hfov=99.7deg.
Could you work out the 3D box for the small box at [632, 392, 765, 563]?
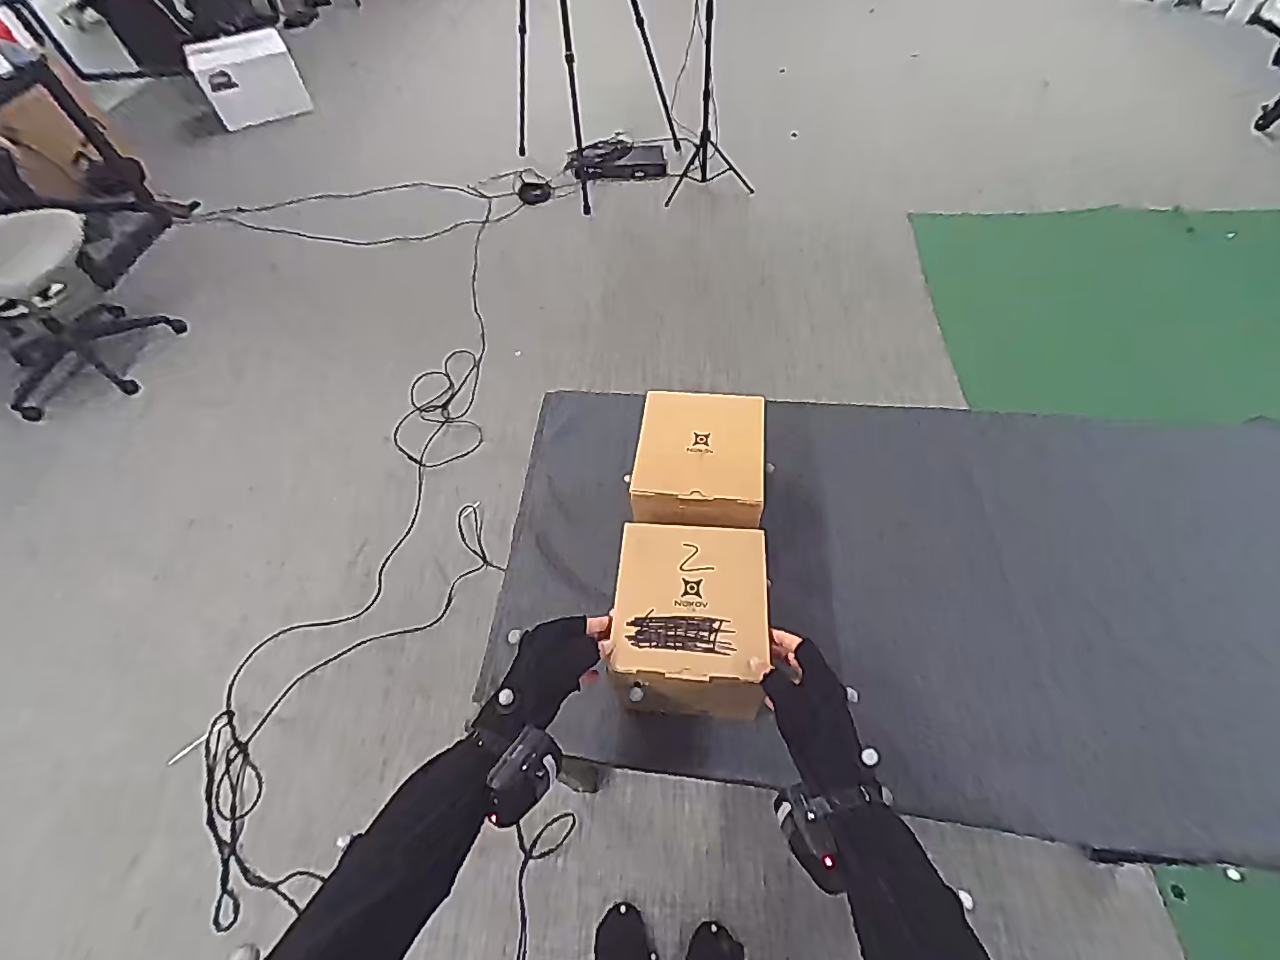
[{"bbox_3d":[0.084,-0.002,0.775,0.168,0.176,0.179,4,57,7],"label":"small box"}]
